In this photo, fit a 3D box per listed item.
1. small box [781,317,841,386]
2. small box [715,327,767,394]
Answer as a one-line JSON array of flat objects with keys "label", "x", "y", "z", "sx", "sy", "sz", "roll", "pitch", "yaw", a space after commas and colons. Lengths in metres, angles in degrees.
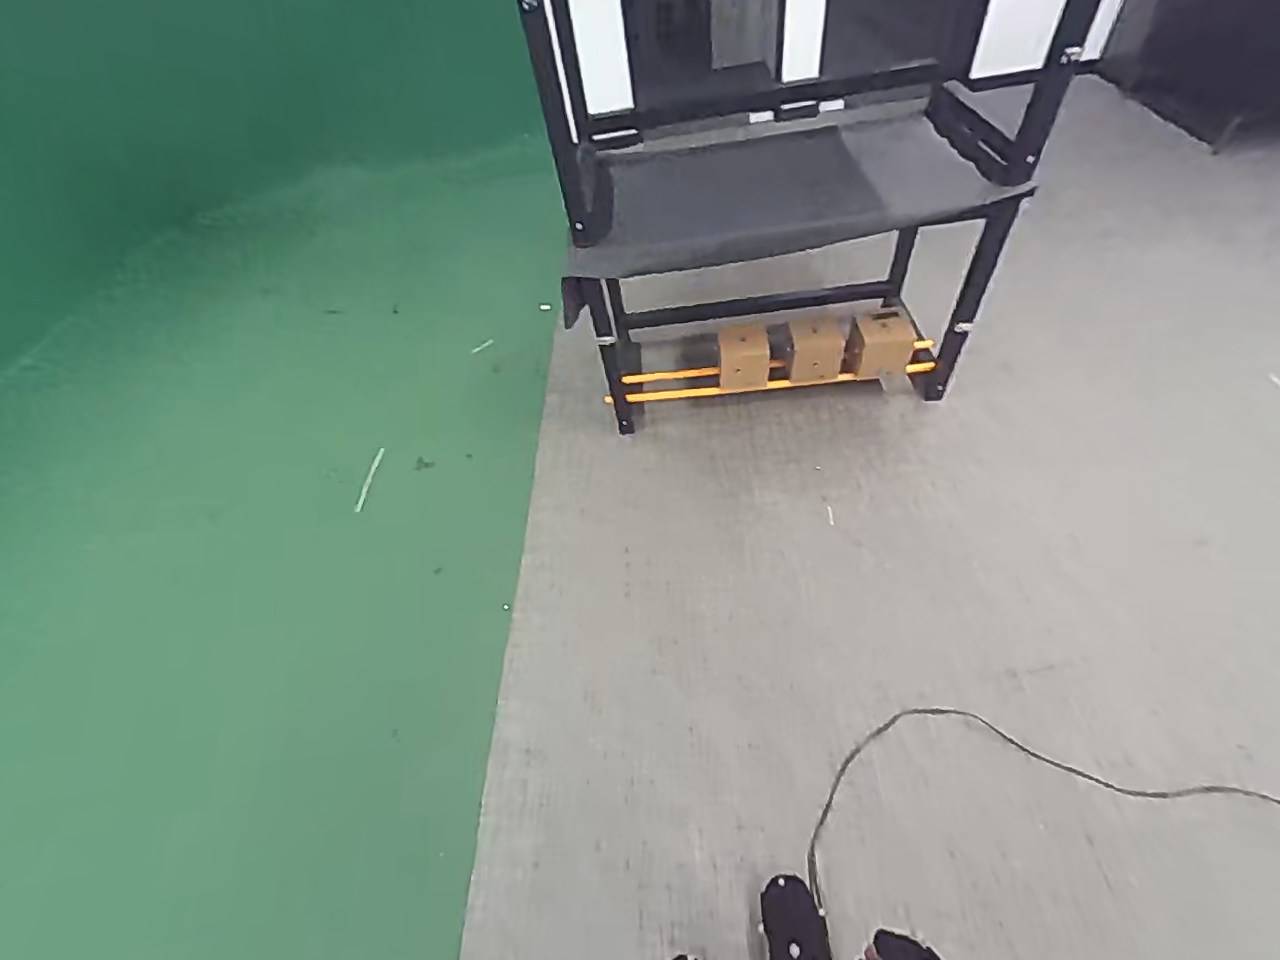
[{"label": "small box", "x": 0.604, "y": -0.450, "z": 1.925, "sx": 0.168, "sy": 0.176, "sz": 0.179, "roll": -6, "pitch": 51, "yaw": 5}, {"label": "small box", "x": 0.360, "y": -0.422, "z": 1.946, "sx": 0.168, "sy": 0.176, "sz": 0.179, "roll": -4, "pitch": 52, "yaw": 5}]
